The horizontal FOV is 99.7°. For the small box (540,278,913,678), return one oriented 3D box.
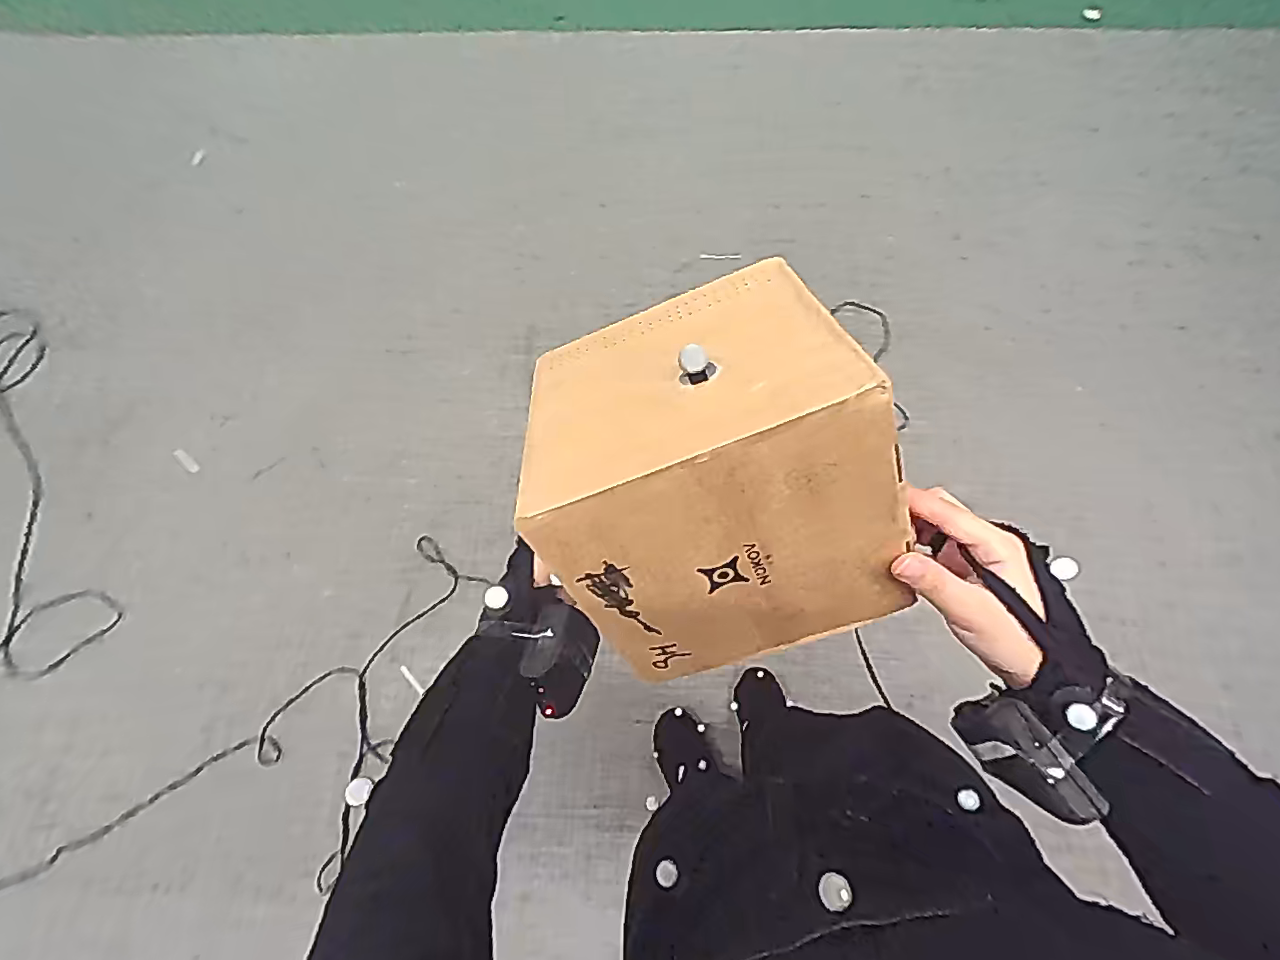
[{"bbox_3d":[0.050,-0.006,0.355,0.179,0.168,0.176,-20,37,10],"label":"small box"}]
